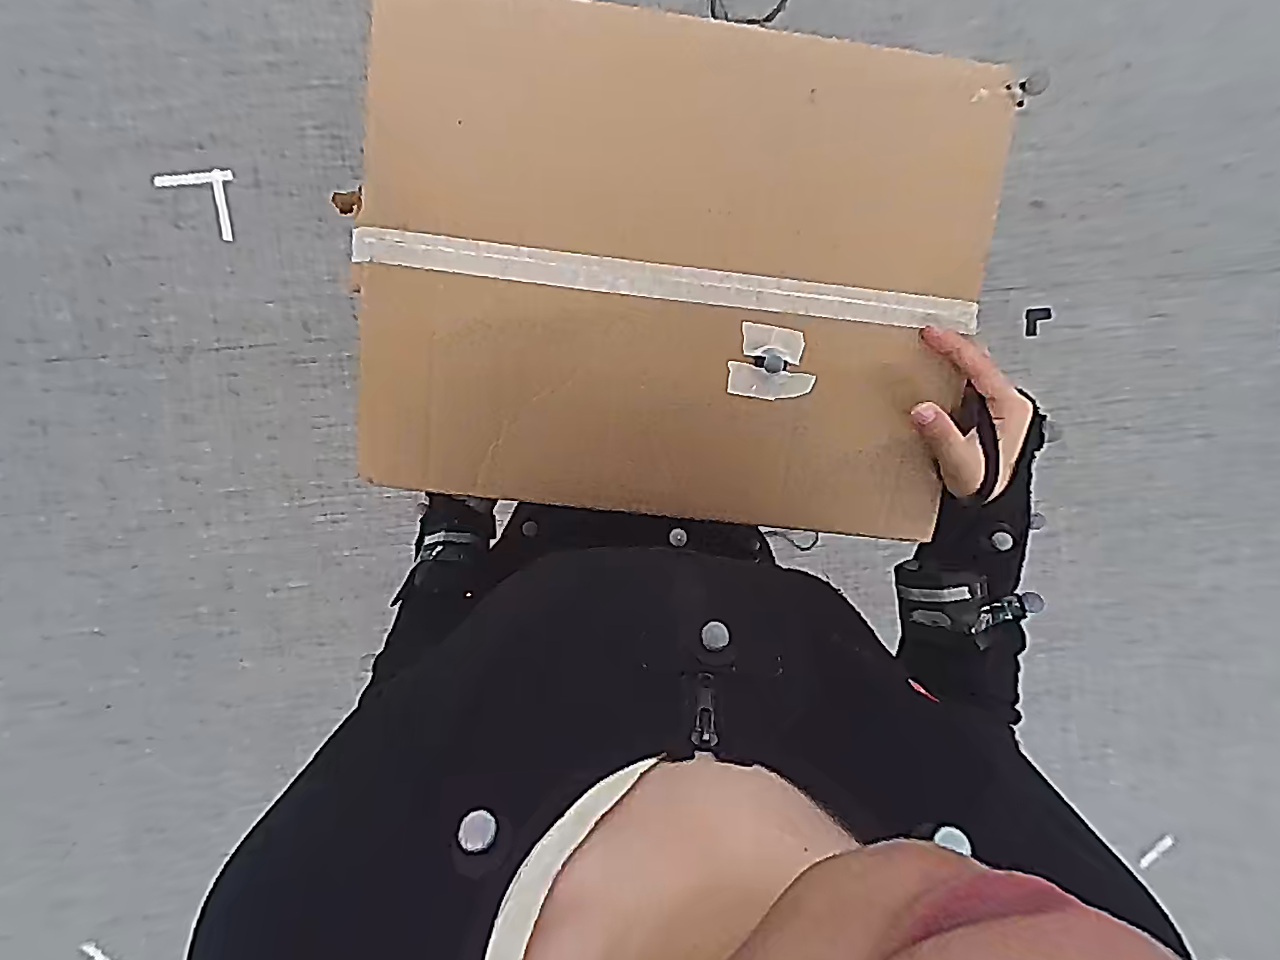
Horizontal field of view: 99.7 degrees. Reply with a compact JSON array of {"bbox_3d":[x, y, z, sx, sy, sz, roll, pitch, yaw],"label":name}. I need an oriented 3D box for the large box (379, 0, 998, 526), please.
[{"bbox_3d":[0.019,-0.152,0.513,0.408,0.320,0.320,5,99,-4],"label":"large box"}]
